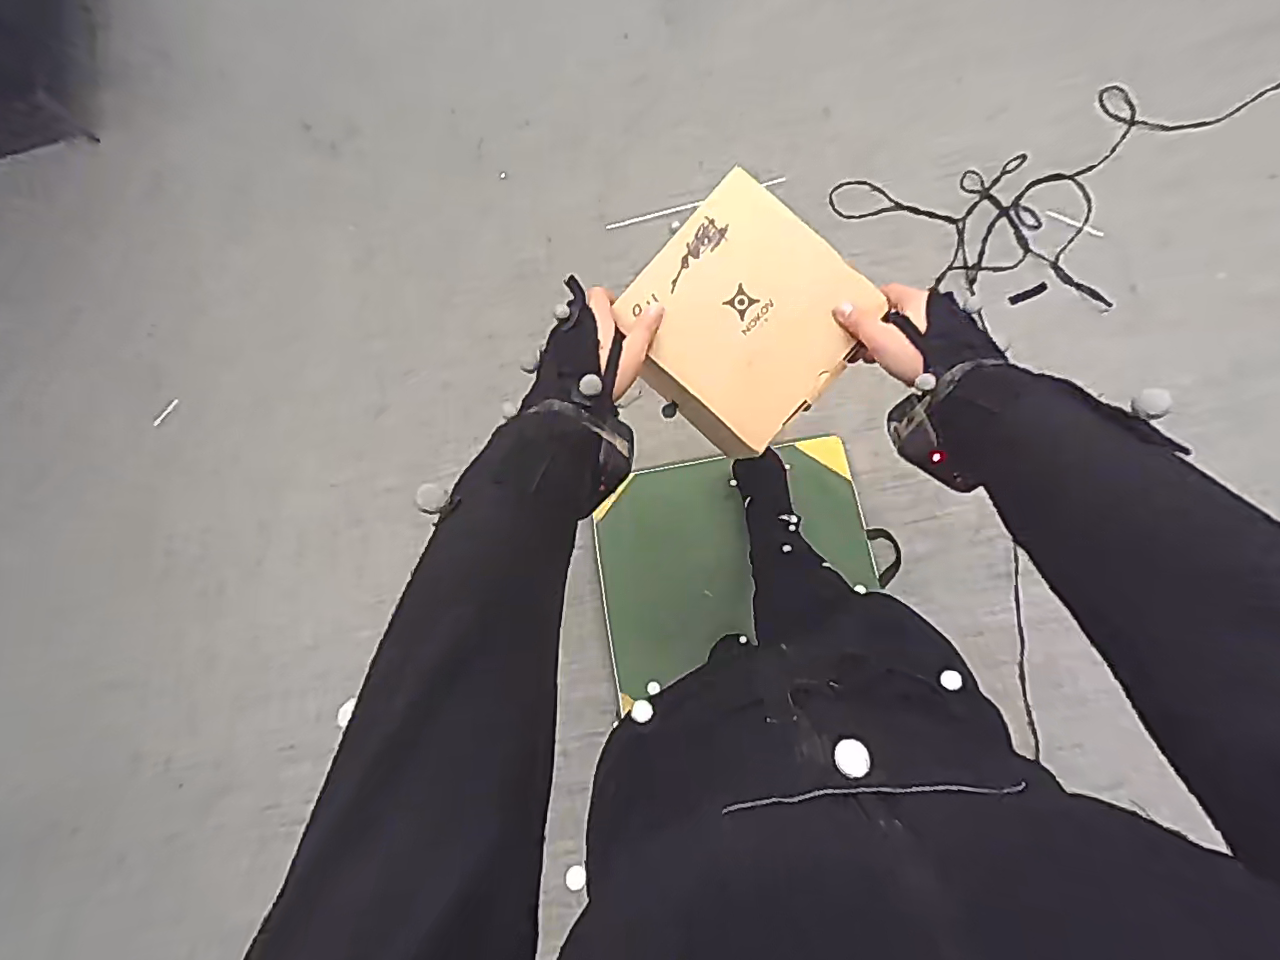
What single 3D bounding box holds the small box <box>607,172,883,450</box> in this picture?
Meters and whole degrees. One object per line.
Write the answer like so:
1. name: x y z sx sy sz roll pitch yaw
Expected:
1. small box: 0.090 -0.146 0.535 0.179 0.176 0.168 42 91 0
